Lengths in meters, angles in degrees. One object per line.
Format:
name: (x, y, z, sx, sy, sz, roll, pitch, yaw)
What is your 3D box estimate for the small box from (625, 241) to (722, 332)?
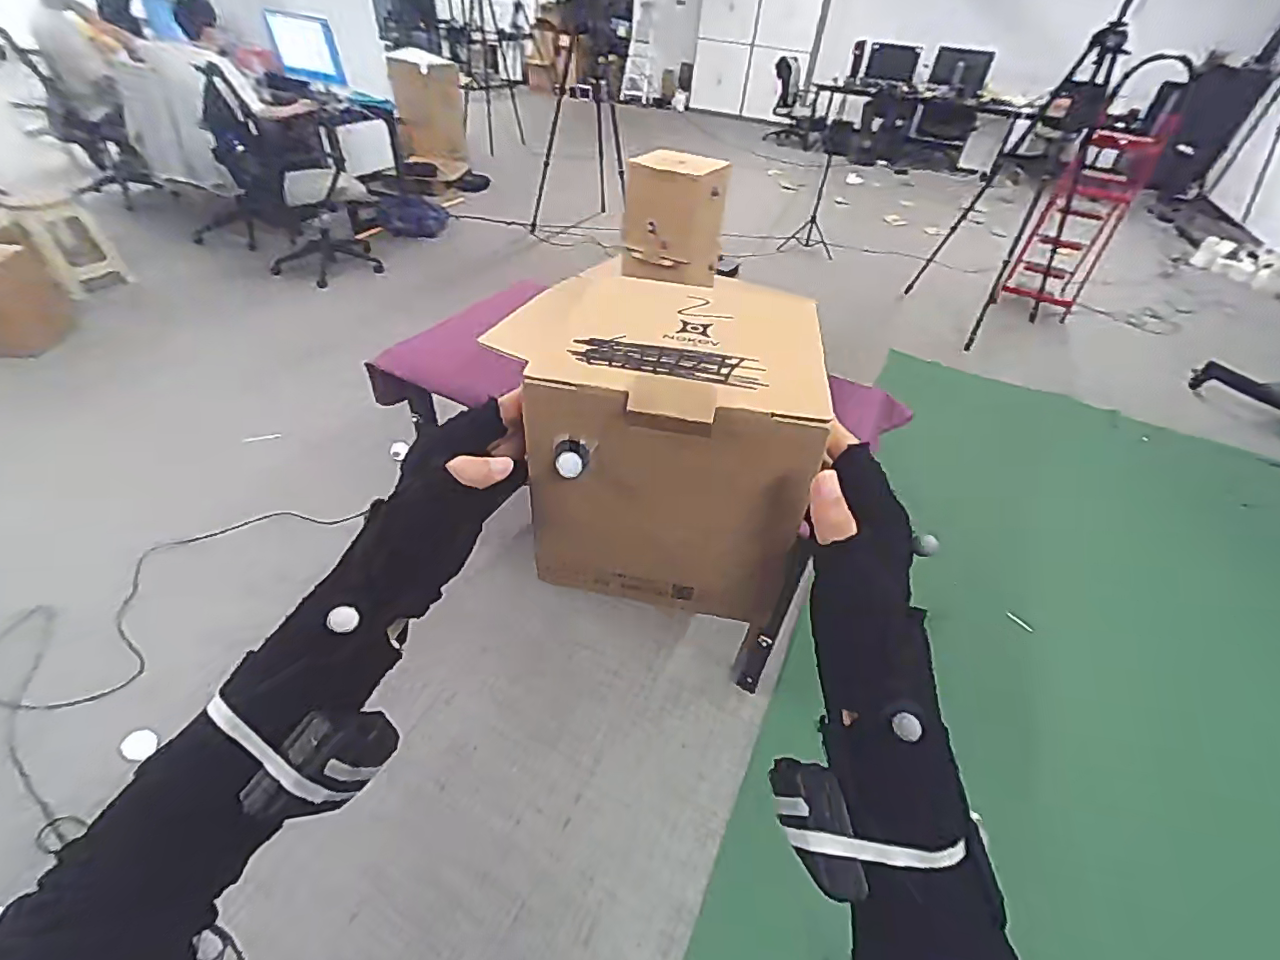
small box: (0.073, -0.472, 1.270, 0.168, 0.176, 0.179, 23, 44, 20)

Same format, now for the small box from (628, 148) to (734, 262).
small box: (0.082, -0.590, 1.158, 0.168, 0.176, 0.179, 22, 44, 17)
